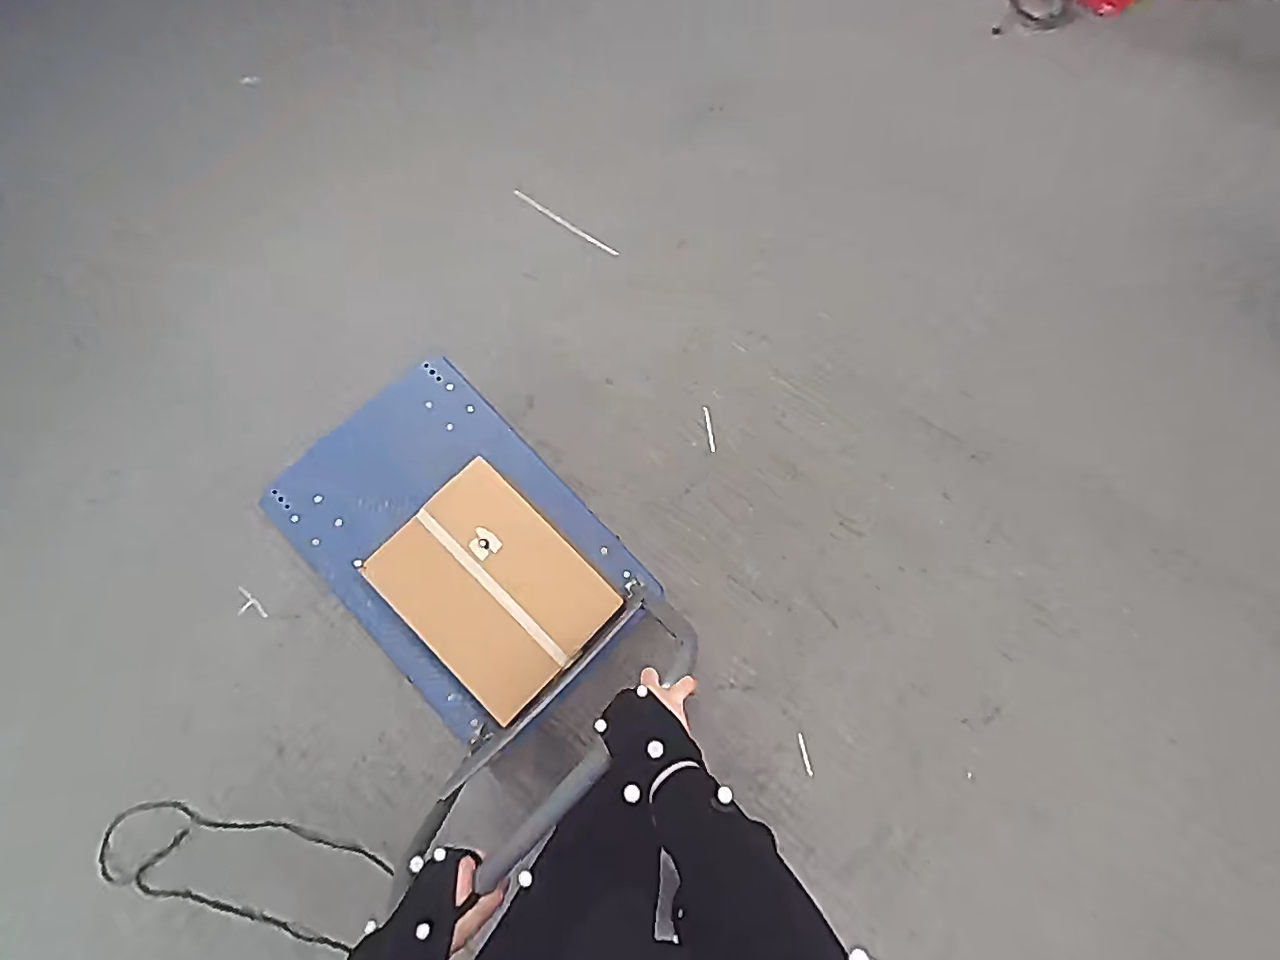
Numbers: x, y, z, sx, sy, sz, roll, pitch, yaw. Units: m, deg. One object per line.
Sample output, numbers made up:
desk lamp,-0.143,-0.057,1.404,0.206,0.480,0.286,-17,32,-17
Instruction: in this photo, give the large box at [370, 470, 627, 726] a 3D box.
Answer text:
large box,-0.274,0.244,1.182,0.408,0.320,0.320,44,81,7
